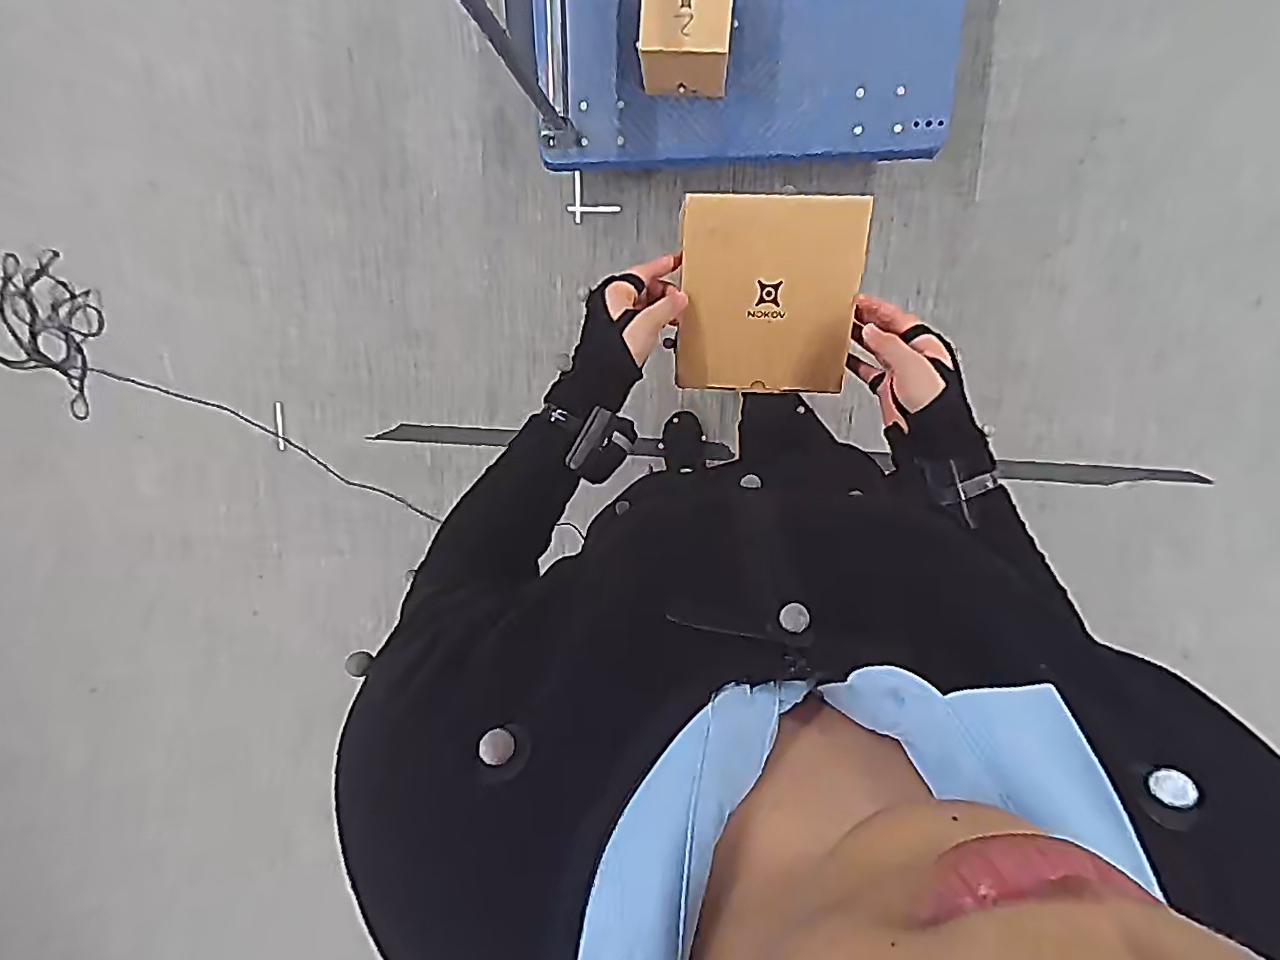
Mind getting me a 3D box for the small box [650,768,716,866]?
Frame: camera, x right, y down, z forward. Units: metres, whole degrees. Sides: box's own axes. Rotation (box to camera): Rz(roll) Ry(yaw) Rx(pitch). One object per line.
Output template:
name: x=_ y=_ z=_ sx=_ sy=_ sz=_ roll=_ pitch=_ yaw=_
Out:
small box: x=0.129 y=0.986 z=1.590 sx=0.168 sy=0.176 sz=0.179 roll=-9 pitch=100 yaw=6
